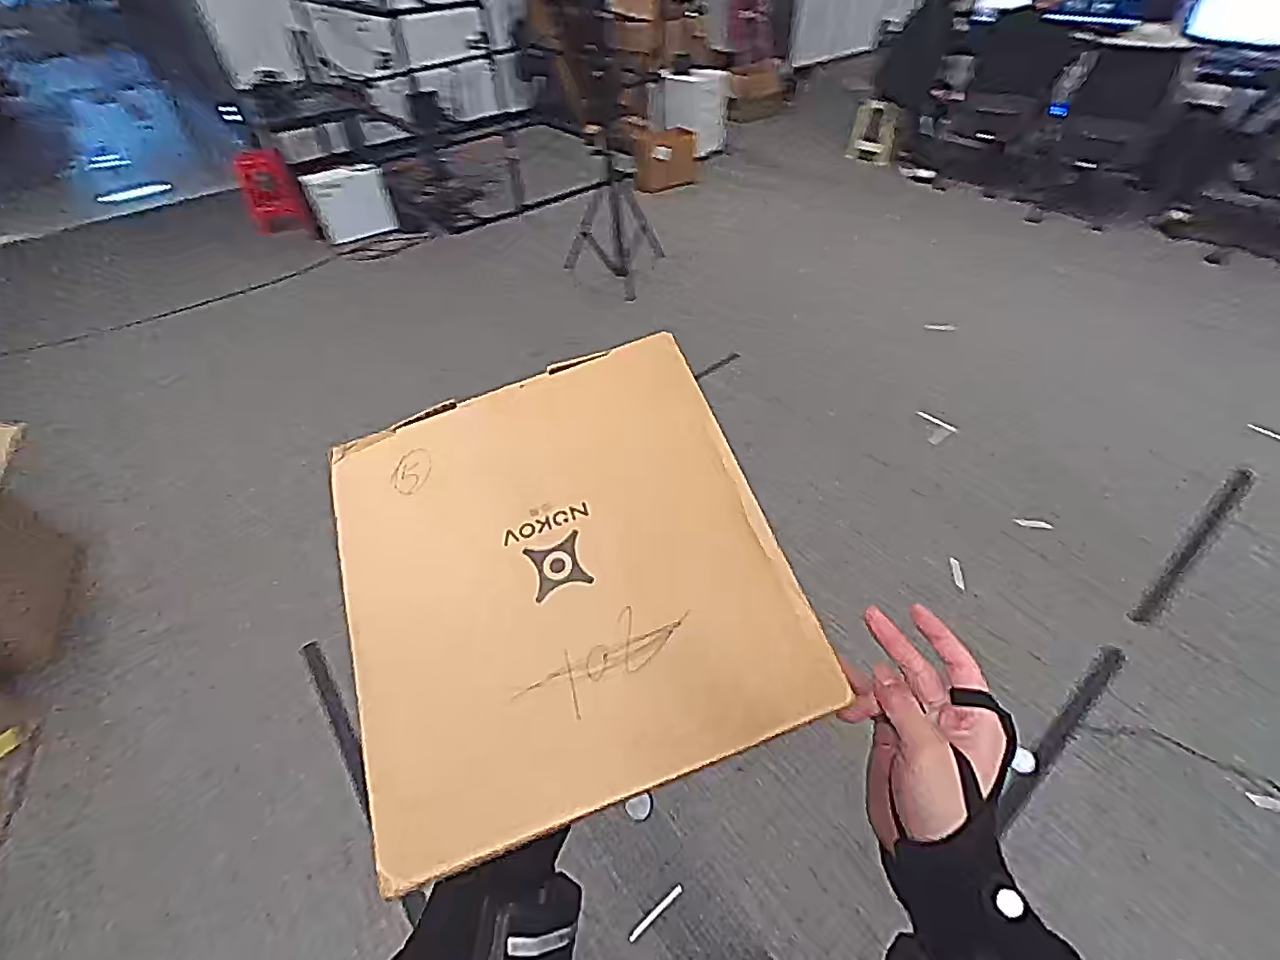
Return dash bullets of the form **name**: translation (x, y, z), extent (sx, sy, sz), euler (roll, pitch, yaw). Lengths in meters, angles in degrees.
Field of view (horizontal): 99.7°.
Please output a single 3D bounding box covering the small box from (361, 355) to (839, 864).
- **small box**: translation (-0.023, 0.069, 0.299), extent (0.168, 0.176, 0.179), euler (-20, 65, -3)
